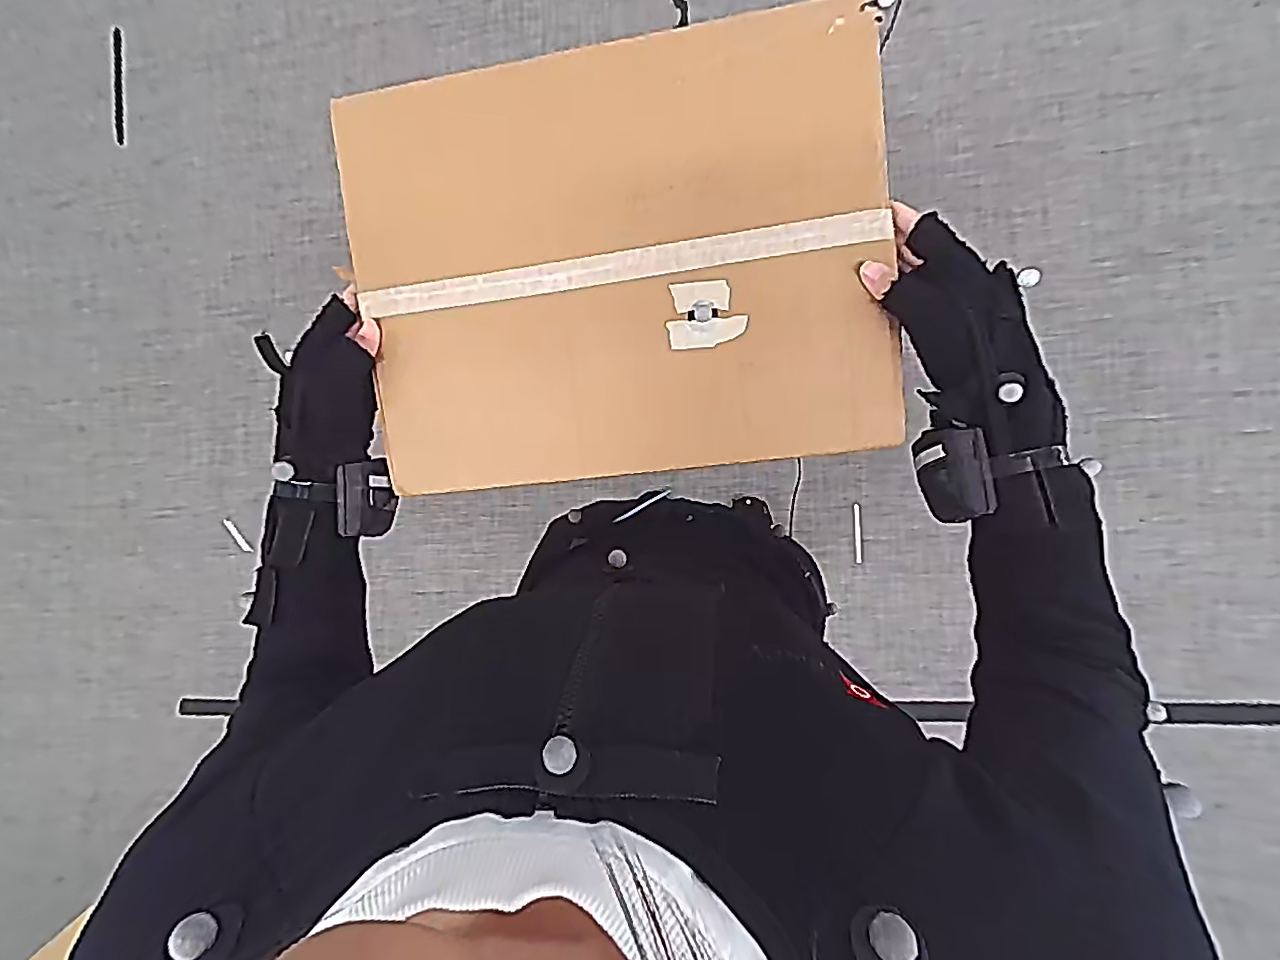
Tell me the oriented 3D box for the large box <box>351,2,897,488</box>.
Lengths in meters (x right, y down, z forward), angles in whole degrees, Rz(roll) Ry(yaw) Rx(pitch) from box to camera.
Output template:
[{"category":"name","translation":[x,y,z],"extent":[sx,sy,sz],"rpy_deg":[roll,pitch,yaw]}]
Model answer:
[{"category":"large box","translation":[-0.004,-0.182,0.568],"extent":[0.408,0.320,0.320],"rpy_deg":[-6,96,6]}]
